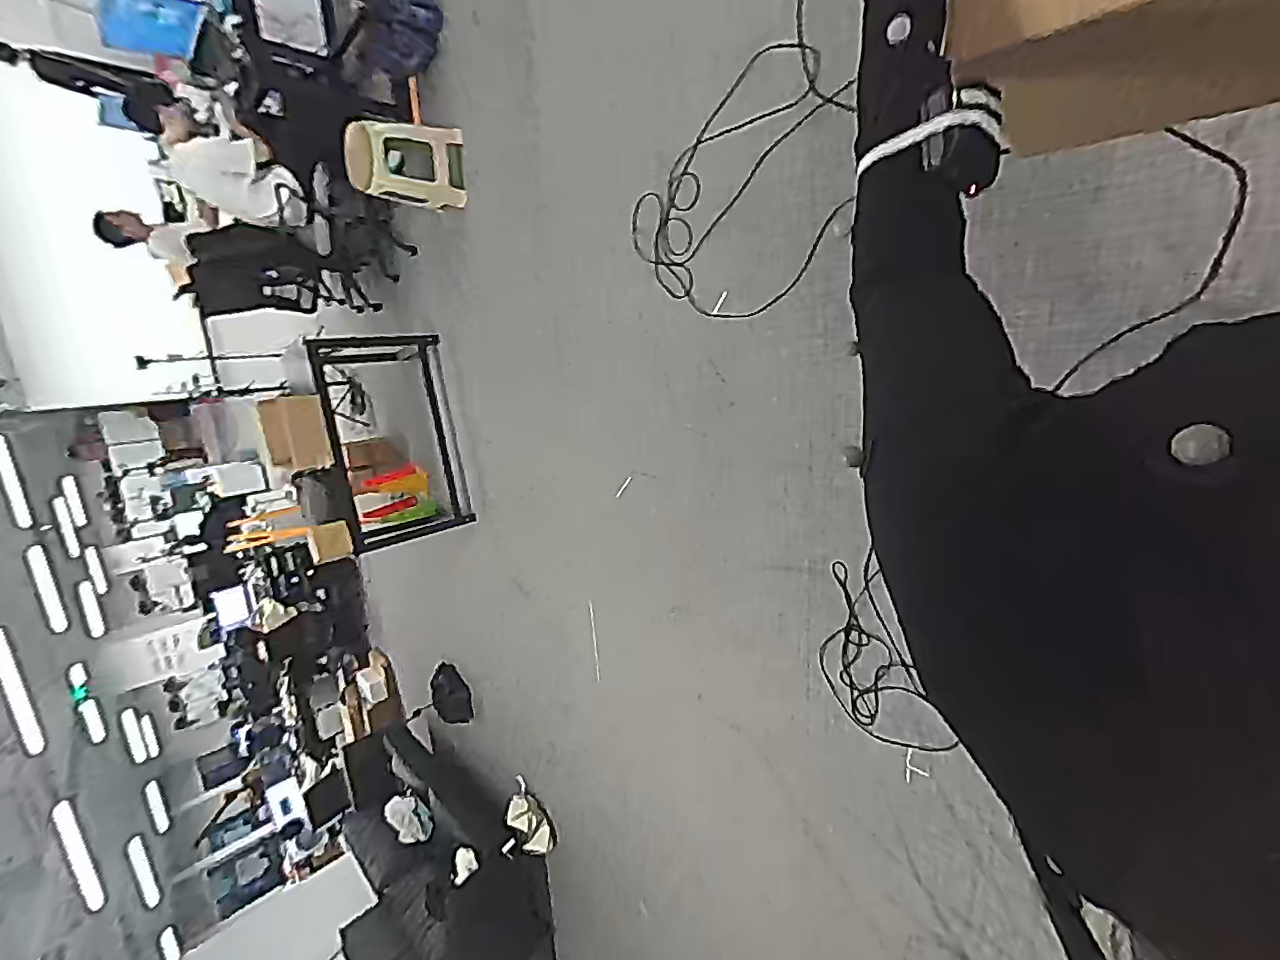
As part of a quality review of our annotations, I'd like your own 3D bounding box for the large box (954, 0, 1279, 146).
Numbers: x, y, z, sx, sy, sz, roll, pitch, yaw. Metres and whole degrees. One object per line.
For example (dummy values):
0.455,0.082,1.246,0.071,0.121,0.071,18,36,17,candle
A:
0.486,-0.495,0.375,0.408,0.320,0.320,9,107,42,large box
